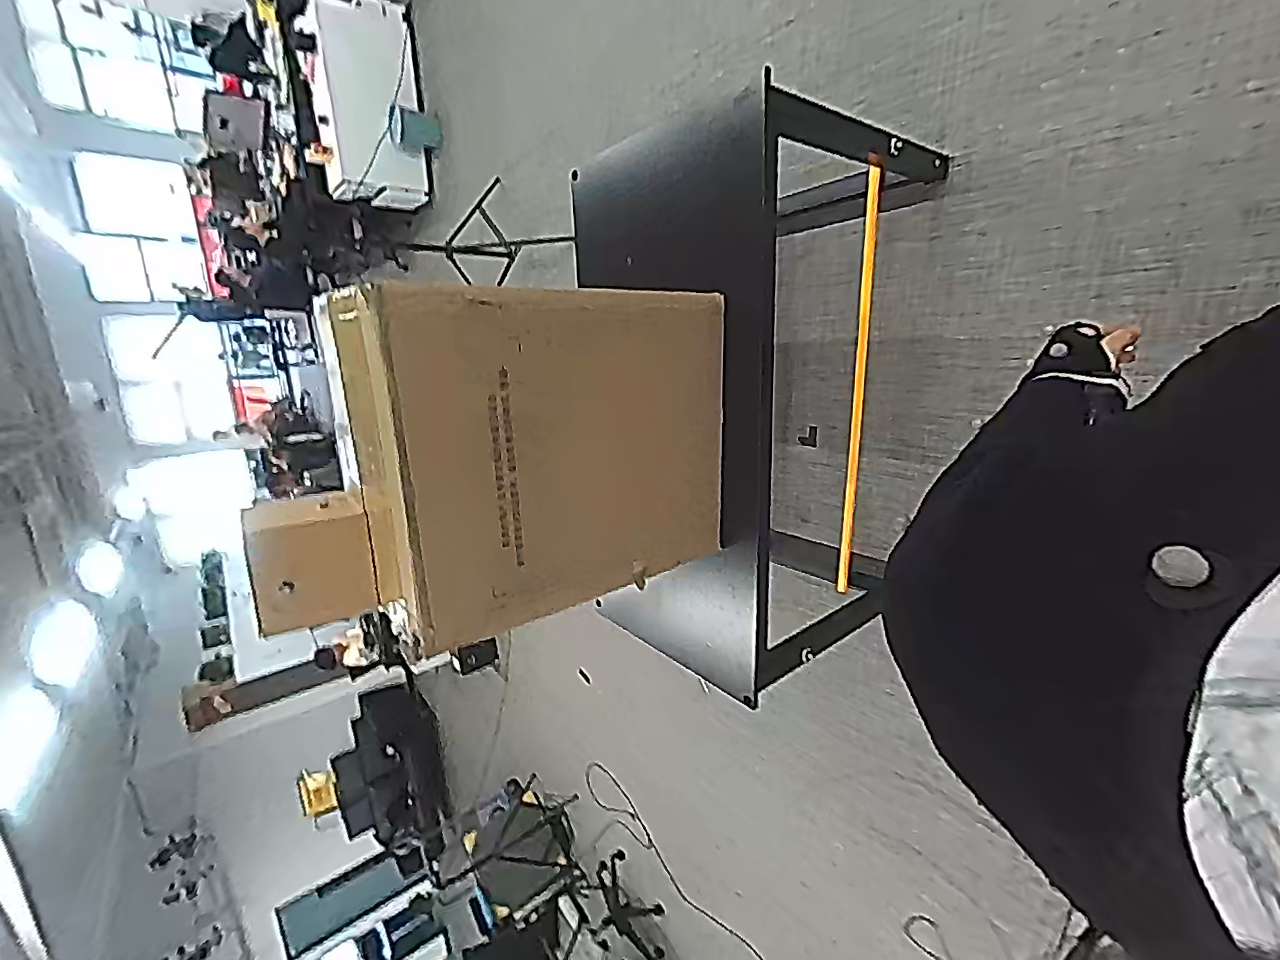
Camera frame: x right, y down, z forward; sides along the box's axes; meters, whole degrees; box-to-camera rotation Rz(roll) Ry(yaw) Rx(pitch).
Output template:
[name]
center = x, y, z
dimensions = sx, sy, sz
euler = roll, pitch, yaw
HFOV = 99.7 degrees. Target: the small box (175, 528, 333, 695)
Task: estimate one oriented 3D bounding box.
[small box]
center = -0.593, 0.191, 0.844
dimensions = 0.168, 0.176, 0.179
euler = 18, 113, 51
